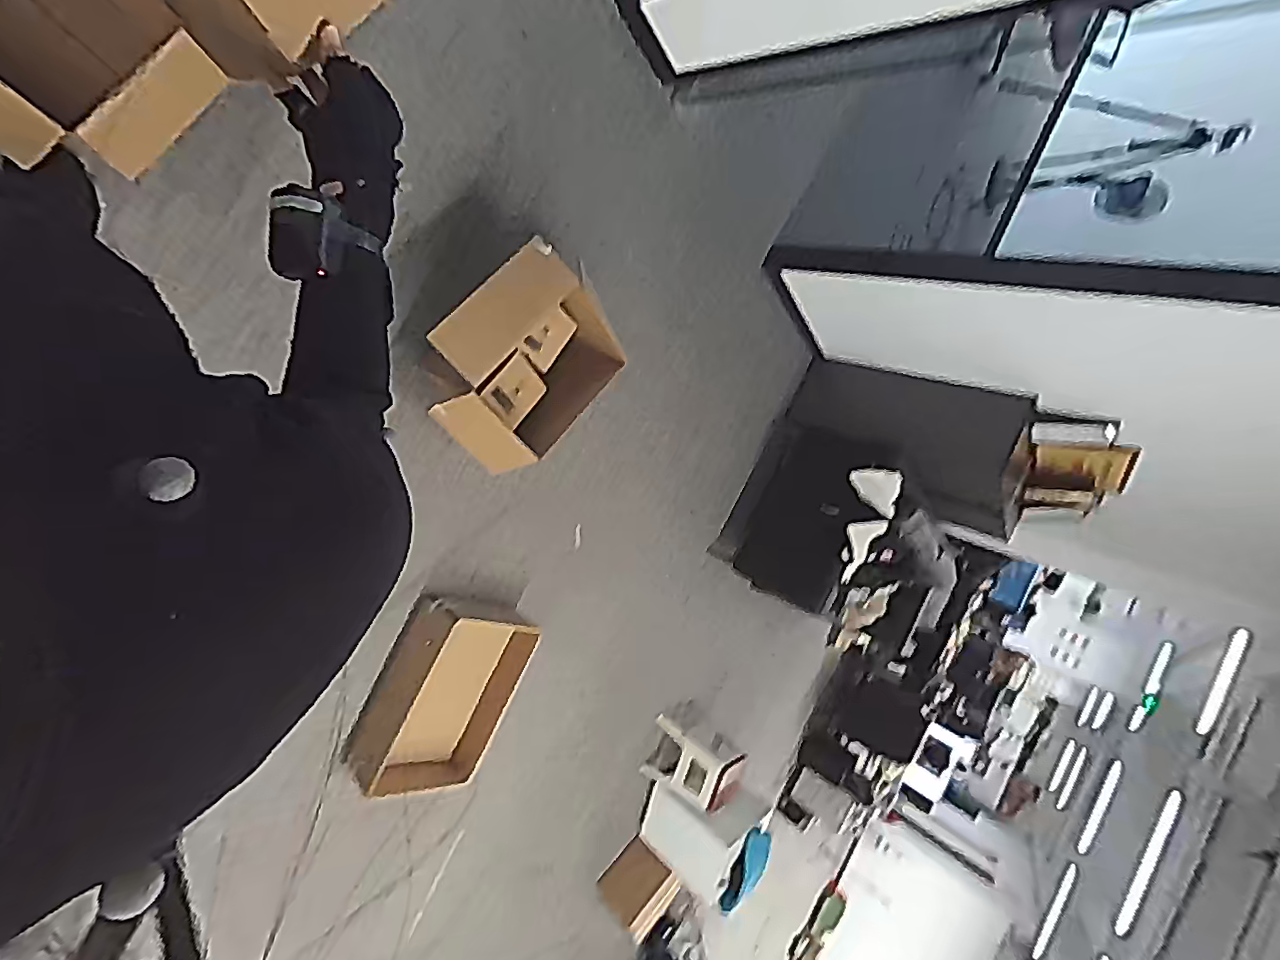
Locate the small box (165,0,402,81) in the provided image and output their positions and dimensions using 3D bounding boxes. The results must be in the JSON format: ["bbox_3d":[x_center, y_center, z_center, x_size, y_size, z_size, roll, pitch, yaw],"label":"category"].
[{"bbox_3d":[-0.310,-0.464,0.440,0.179,0.176,0.168,-54,145,-13],"label":"small box"}]
